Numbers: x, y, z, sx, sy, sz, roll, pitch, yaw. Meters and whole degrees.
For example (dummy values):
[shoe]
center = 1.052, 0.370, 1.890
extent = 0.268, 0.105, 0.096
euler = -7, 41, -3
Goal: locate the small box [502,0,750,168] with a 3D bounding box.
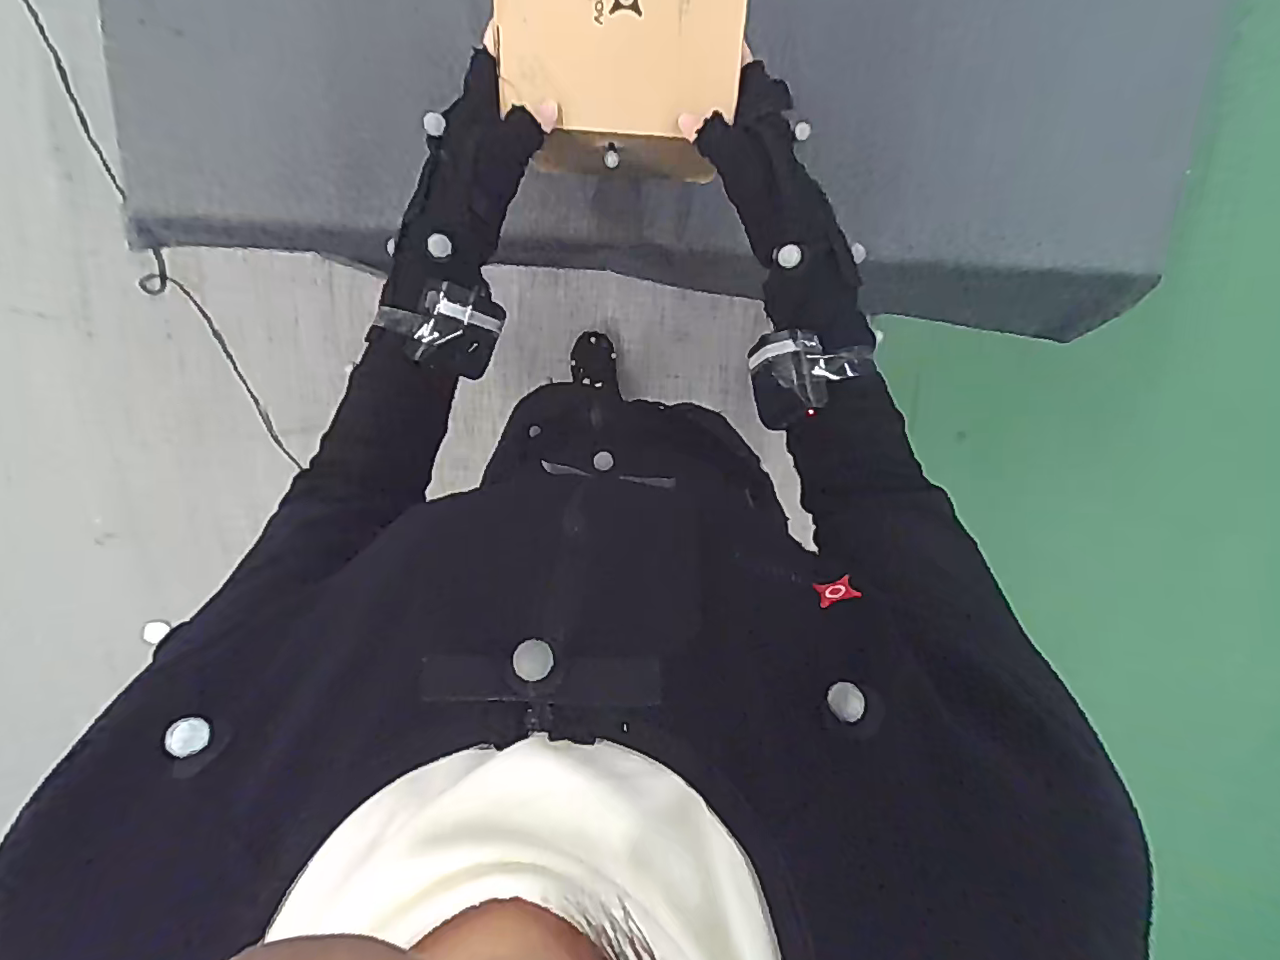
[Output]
[small box]
center = -0.007, -0.368, 0.446
extent = 0.179, 0.176, 0.168
euler = 2, 110, 1
